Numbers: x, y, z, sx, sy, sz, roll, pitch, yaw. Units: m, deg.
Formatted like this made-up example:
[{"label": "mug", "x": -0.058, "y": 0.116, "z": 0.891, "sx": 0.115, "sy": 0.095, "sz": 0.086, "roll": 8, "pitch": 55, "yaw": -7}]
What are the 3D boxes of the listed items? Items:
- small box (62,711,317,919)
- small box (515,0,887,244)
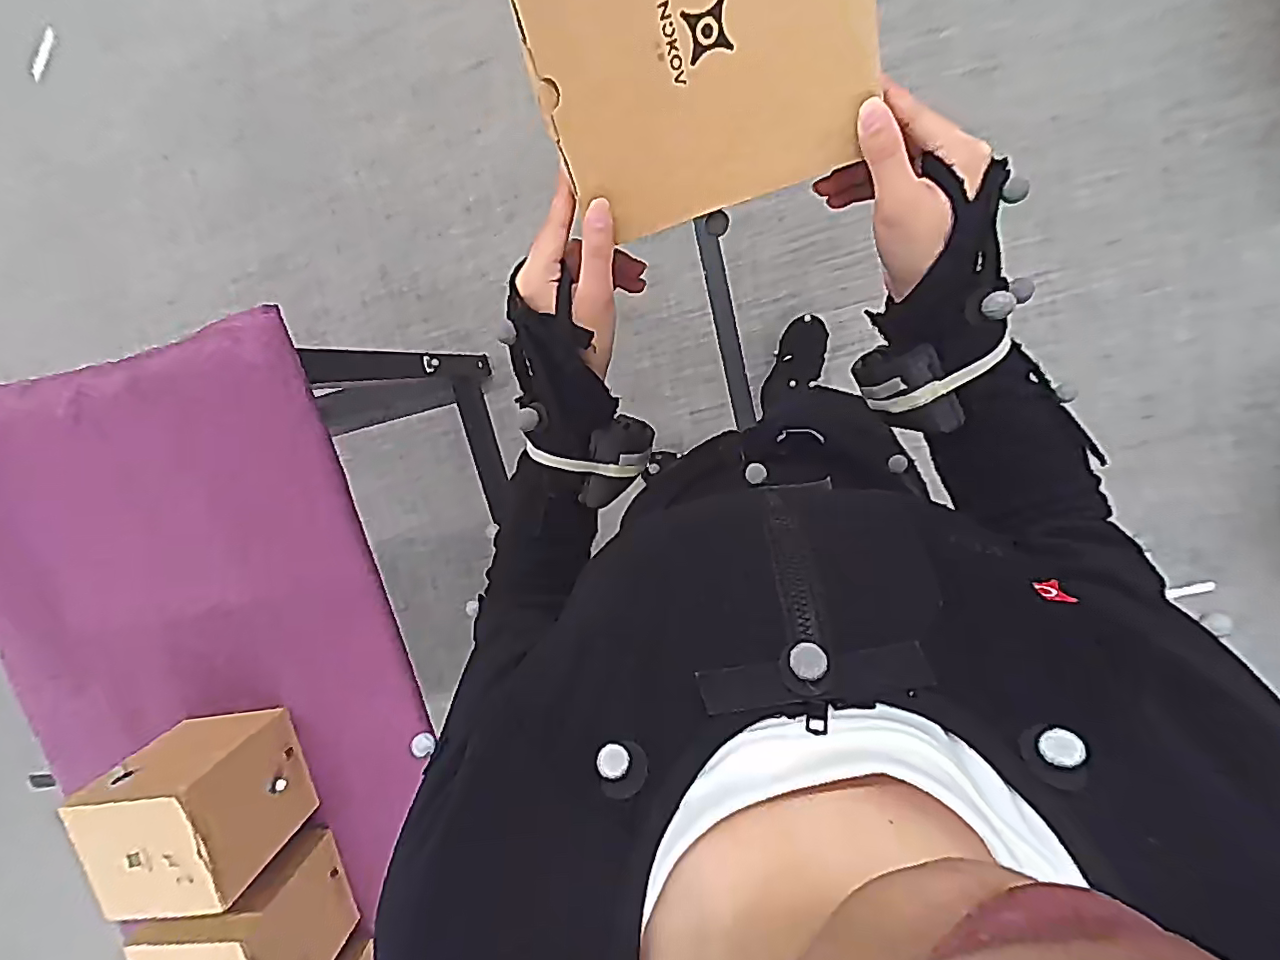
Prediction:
[{"label": "small box", "x": -0.583, "y": 0.437, "z": 0.723, "sx": 0.179, "sy": 0.176, "sz": 0.168, "roll": -10, "pitch": 101, "yaw": 9}, {"label": "small box", "x": 0.032, "y": -0.269, "z": 0.344, "sx": 0.179, "sy": 0.176, "sz": 0.168, "roll": -15, "pitch": 117, "yaw": 10}]
